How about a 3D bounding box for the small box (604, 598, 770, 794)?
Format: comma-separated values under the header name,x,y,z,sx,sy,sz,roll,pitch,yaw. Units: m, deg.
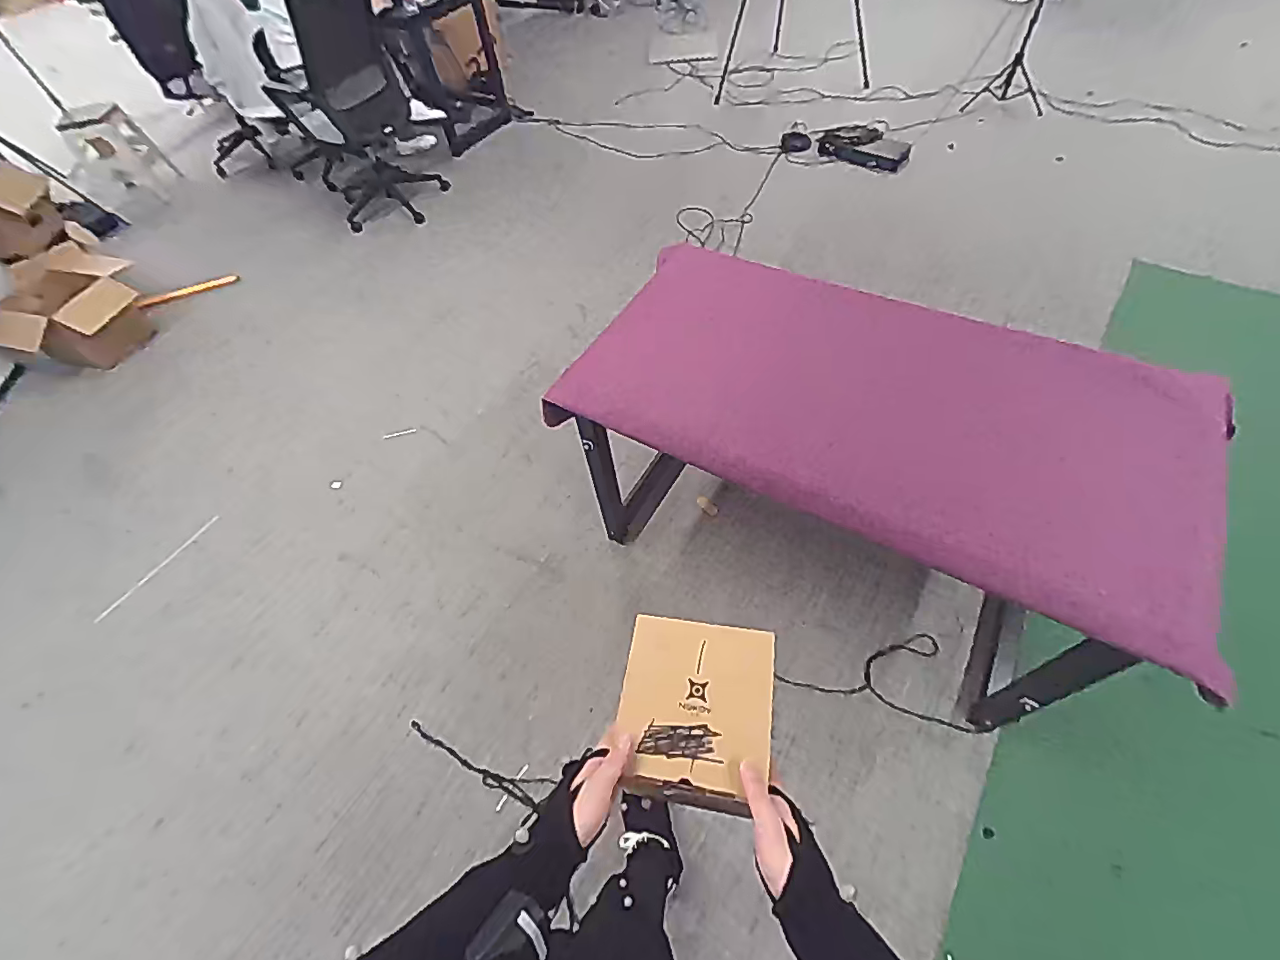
name,x,y,z,sx,sy,sz,roll,pitch,yaw
small box,0.066,0.268,0.663,0.168,0.176,0.179,5,55,11
